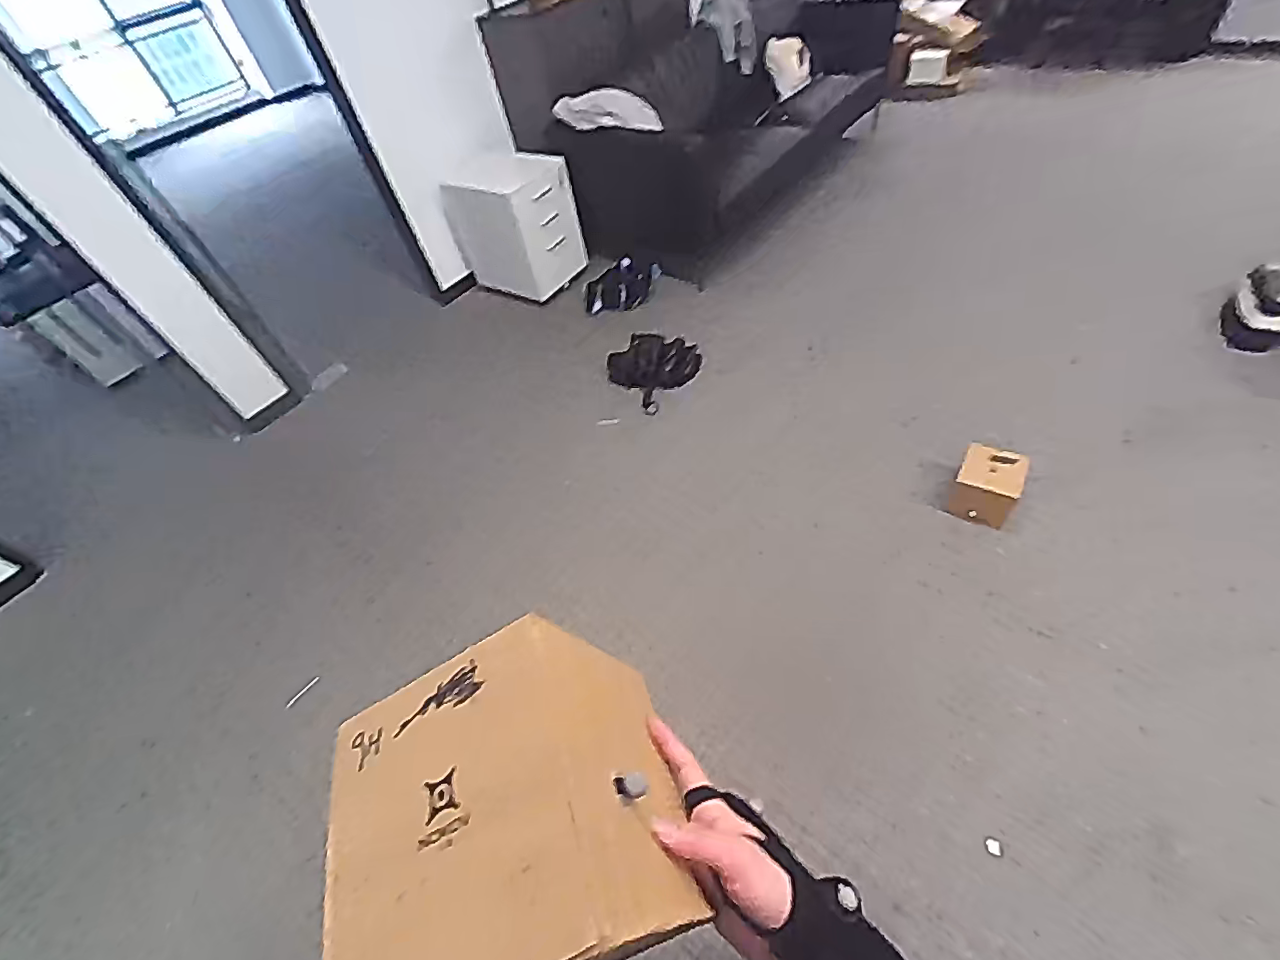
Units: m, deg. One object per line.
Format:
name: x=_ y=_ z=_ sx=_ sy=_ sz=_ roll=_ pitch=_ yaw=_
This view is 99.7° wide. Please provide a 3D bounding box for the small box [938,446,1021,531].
small box: x=1.061 y=0.028 z=1.701 sx=0.168 sy=0.176 sz=0.179 roll=21 pitch=58 yaw=27
